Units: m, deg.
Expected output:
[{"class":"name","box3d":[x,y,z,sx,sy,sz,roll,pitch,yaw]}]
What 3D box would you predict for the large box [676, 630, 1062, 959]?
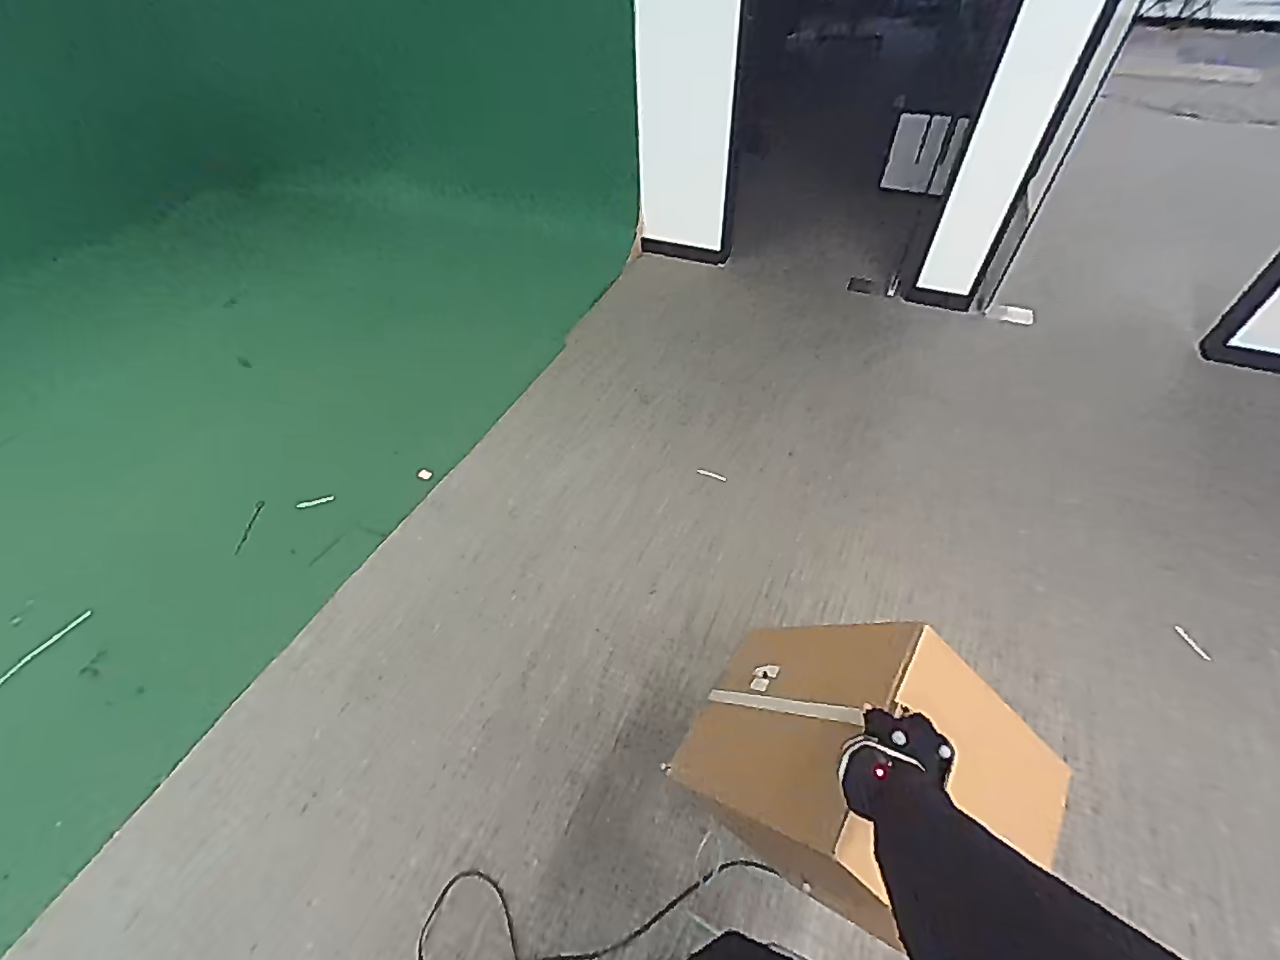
[{"class":"large box","box3d":[0.333,0.464,0.842,0.320,0.408,0.320,44,61,-6]}]
